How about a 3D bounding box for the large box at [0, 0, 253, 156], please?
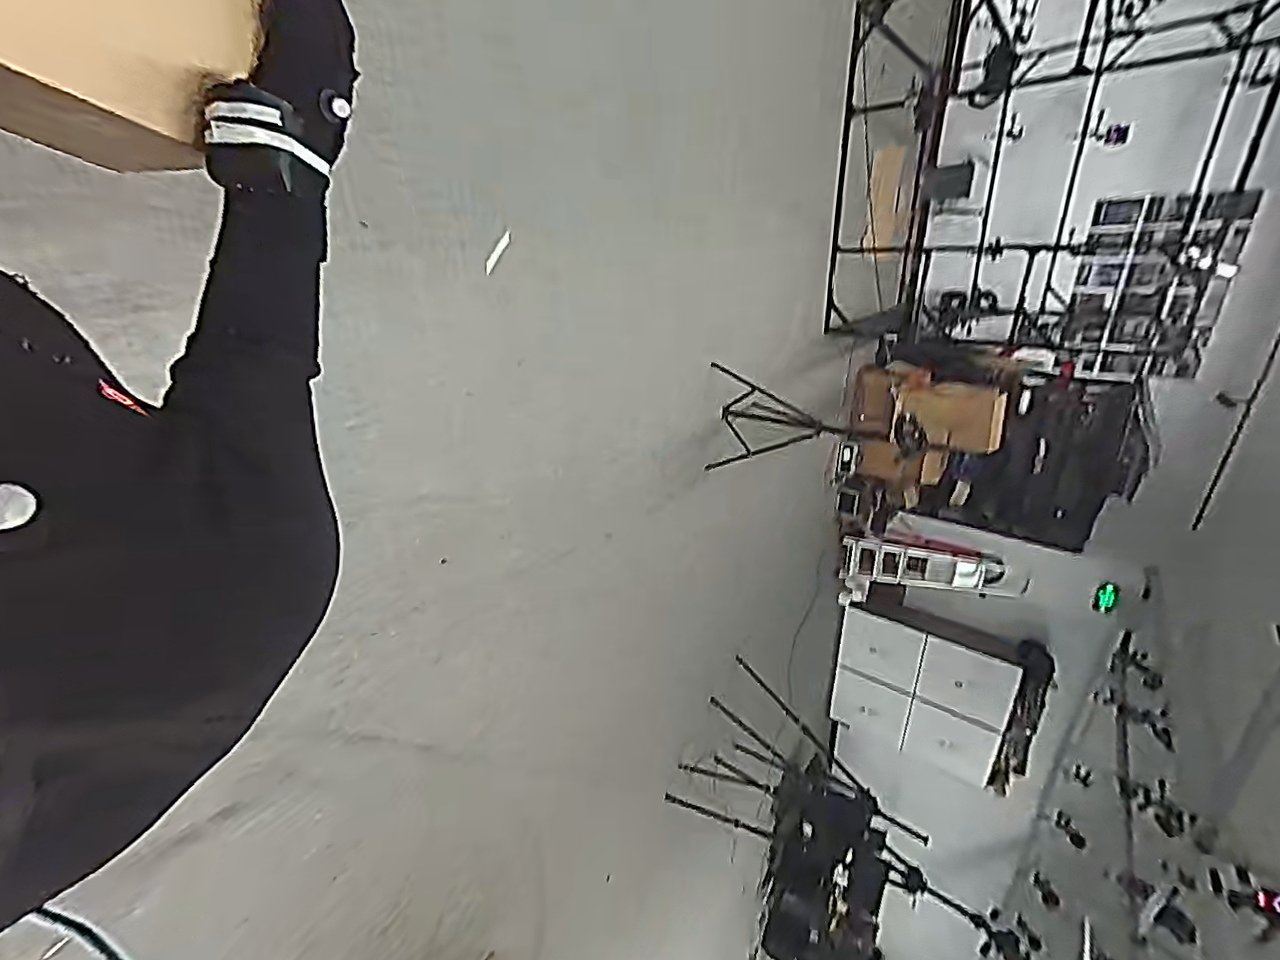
[{"bbox_3d":[-0.506,-0.441,0.305,0.408,0.320,0.320,0,107,-58],"label":"large box"}]
